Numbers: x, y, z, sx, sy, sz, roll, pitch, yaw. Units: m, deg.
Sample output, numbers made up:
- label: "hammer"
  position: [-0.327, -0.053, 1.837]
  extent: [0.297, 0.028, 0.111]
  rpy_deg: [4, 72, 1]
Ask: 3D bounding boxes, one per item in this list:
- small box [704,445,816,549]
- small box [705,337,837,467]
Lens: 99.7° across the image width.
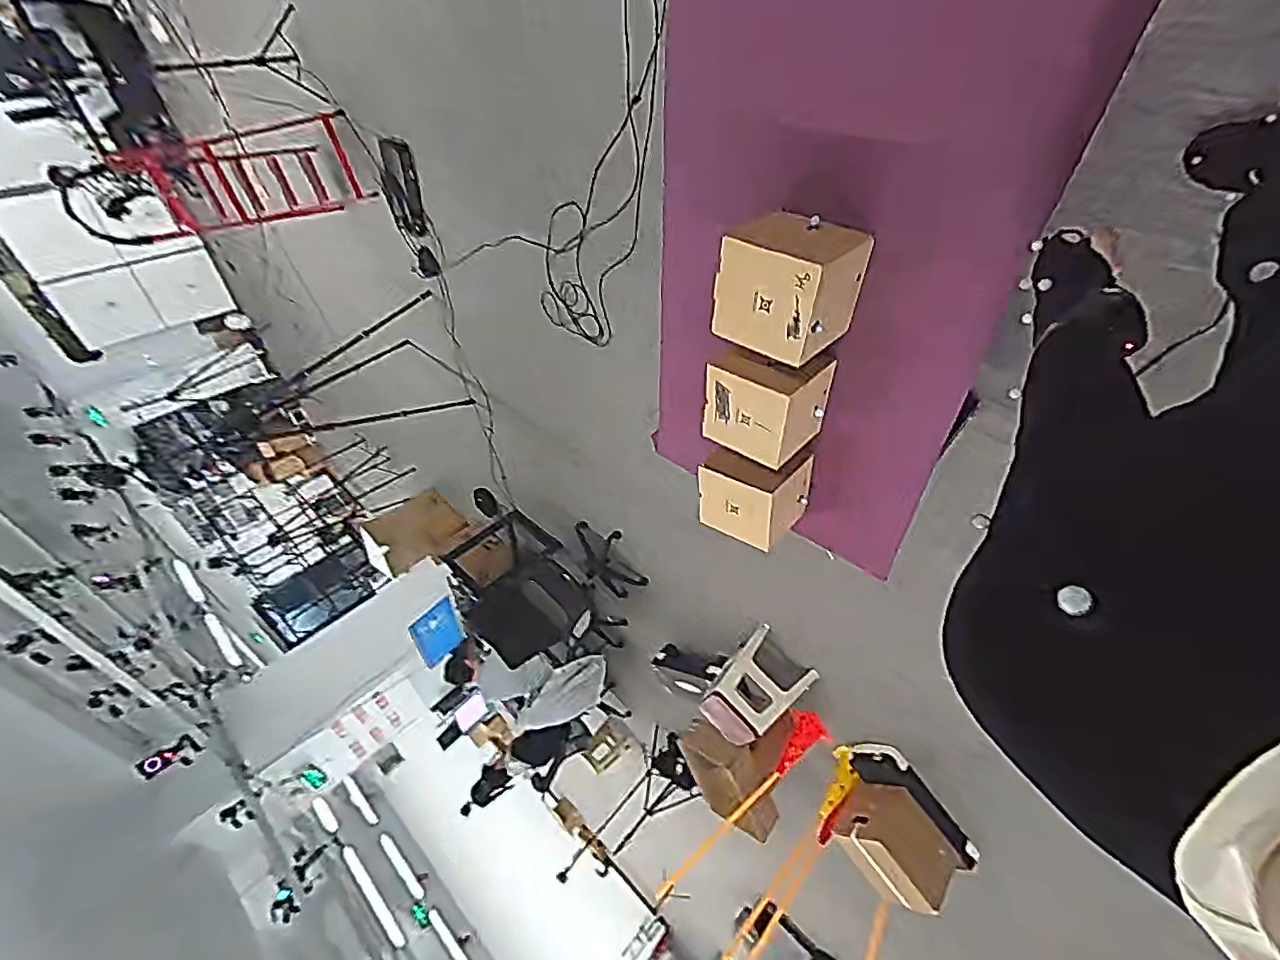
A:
- label: "small box"
  position: [0.261, 0.014, 1.199]
  extent: [0.179, 0.176, 0.168]
  rpy_deg: [28, 140, 35]
- label: "small box"
  position: [0.250, -0.159, 1.051]
  extent: [0.179, 0.176, 0.168]
  rpy_deg: [31, 141, 31]
